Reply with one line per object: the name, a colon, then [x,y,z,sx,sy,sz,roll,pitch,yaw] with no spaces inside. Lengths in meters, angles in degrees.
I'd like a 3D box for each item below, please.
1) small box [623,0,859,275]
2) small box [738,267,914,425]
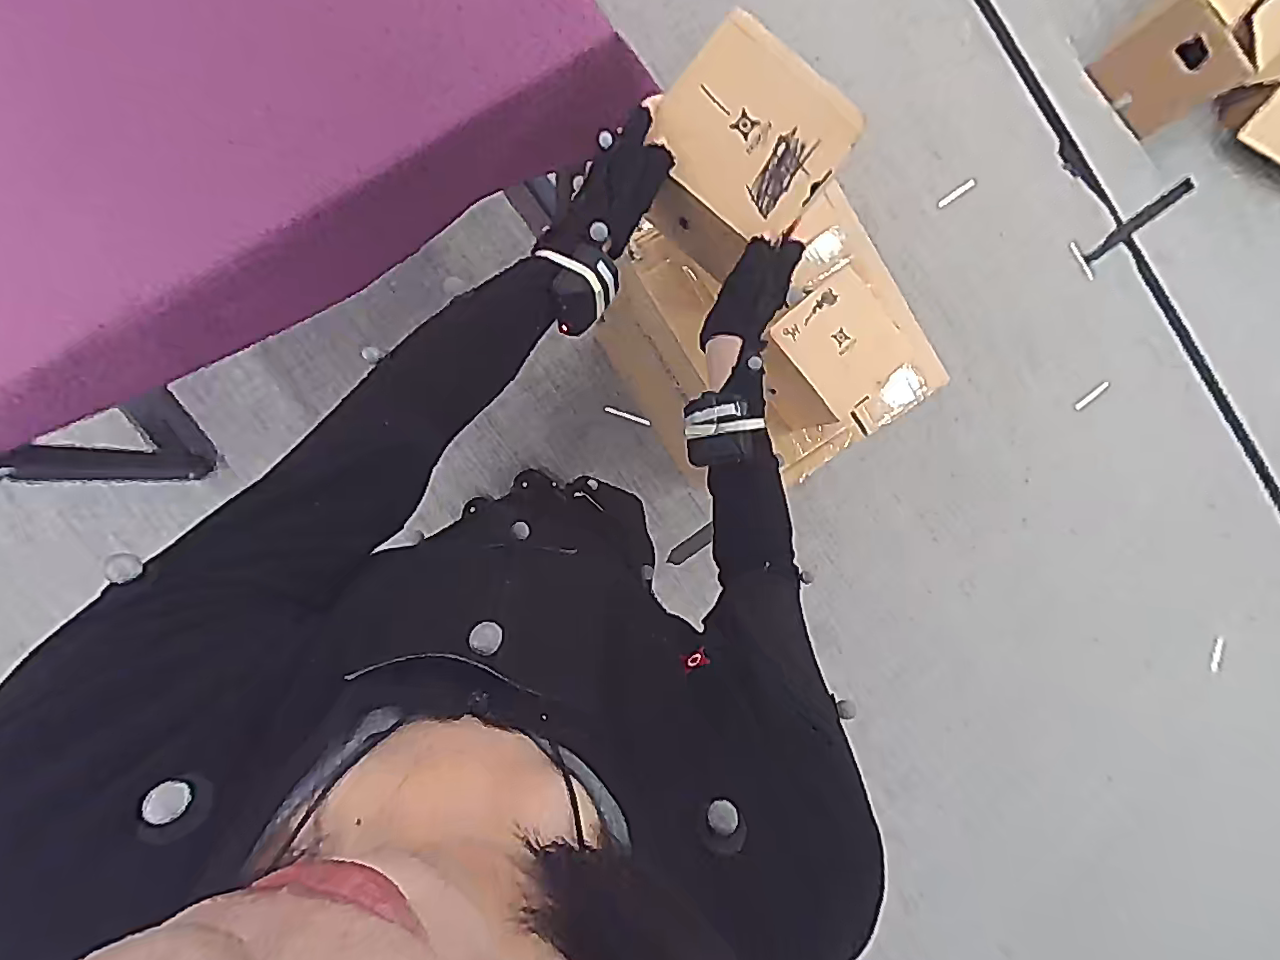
small box: [0.099,-0.356,0.607,0.179,0.176,0.168,38,94,-3]
small box: [0.291,-0.202,0.880,0.168,0.176,0.179,-40,95,-6]
